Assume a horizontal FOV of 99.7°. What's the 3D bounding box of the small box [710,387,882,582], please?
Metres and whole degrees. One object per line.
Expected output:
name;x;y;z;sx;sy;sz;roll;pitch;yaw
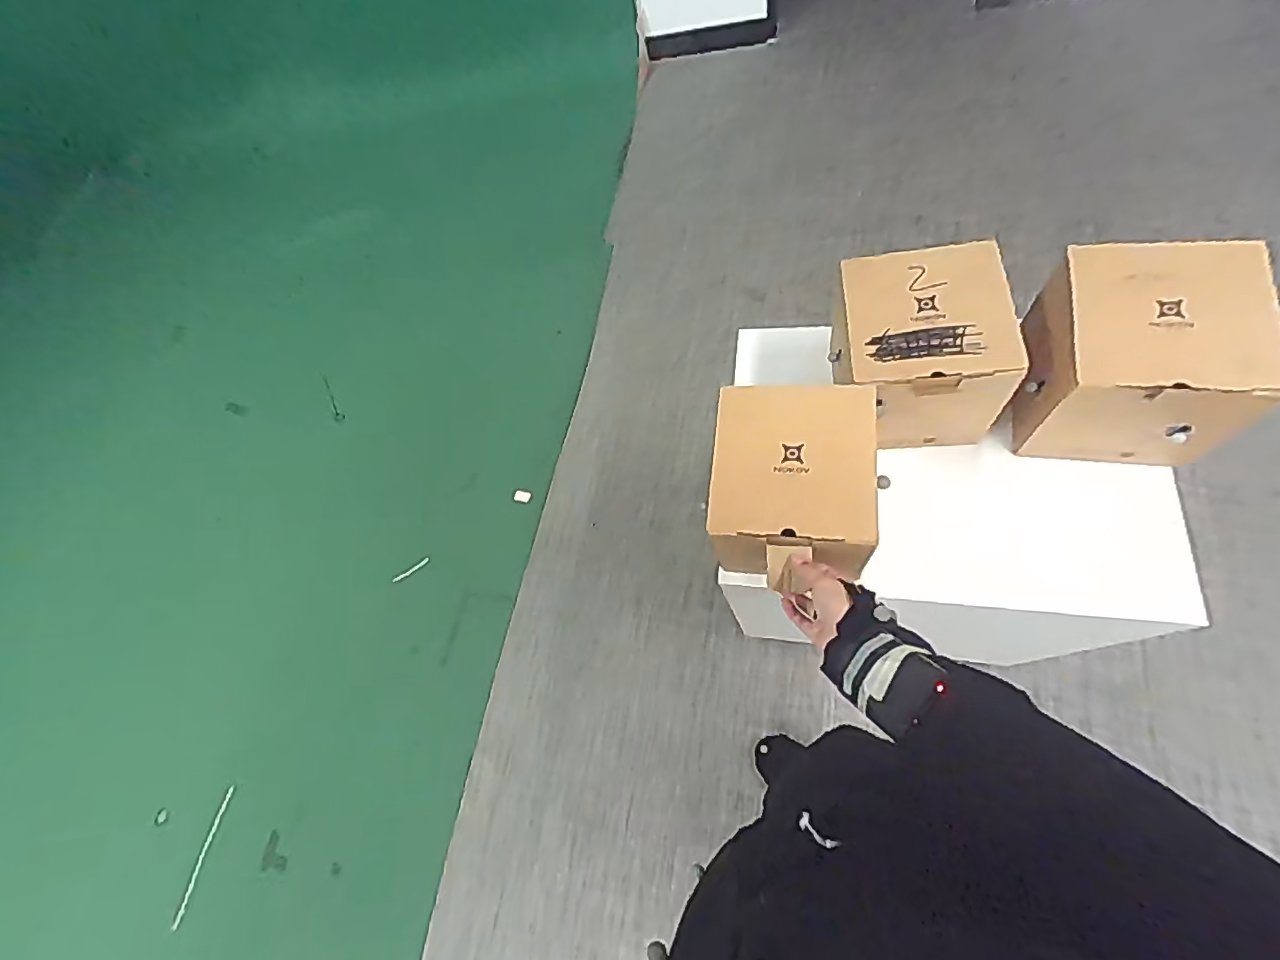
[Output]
small box;0.179;0.009;0.630;0.168;0.176;0.179;2;69;16

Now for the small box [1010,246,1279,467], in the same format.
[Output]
small box;0.533;-0.127;0.597;0.168;0.176;0.179;6;68;16
